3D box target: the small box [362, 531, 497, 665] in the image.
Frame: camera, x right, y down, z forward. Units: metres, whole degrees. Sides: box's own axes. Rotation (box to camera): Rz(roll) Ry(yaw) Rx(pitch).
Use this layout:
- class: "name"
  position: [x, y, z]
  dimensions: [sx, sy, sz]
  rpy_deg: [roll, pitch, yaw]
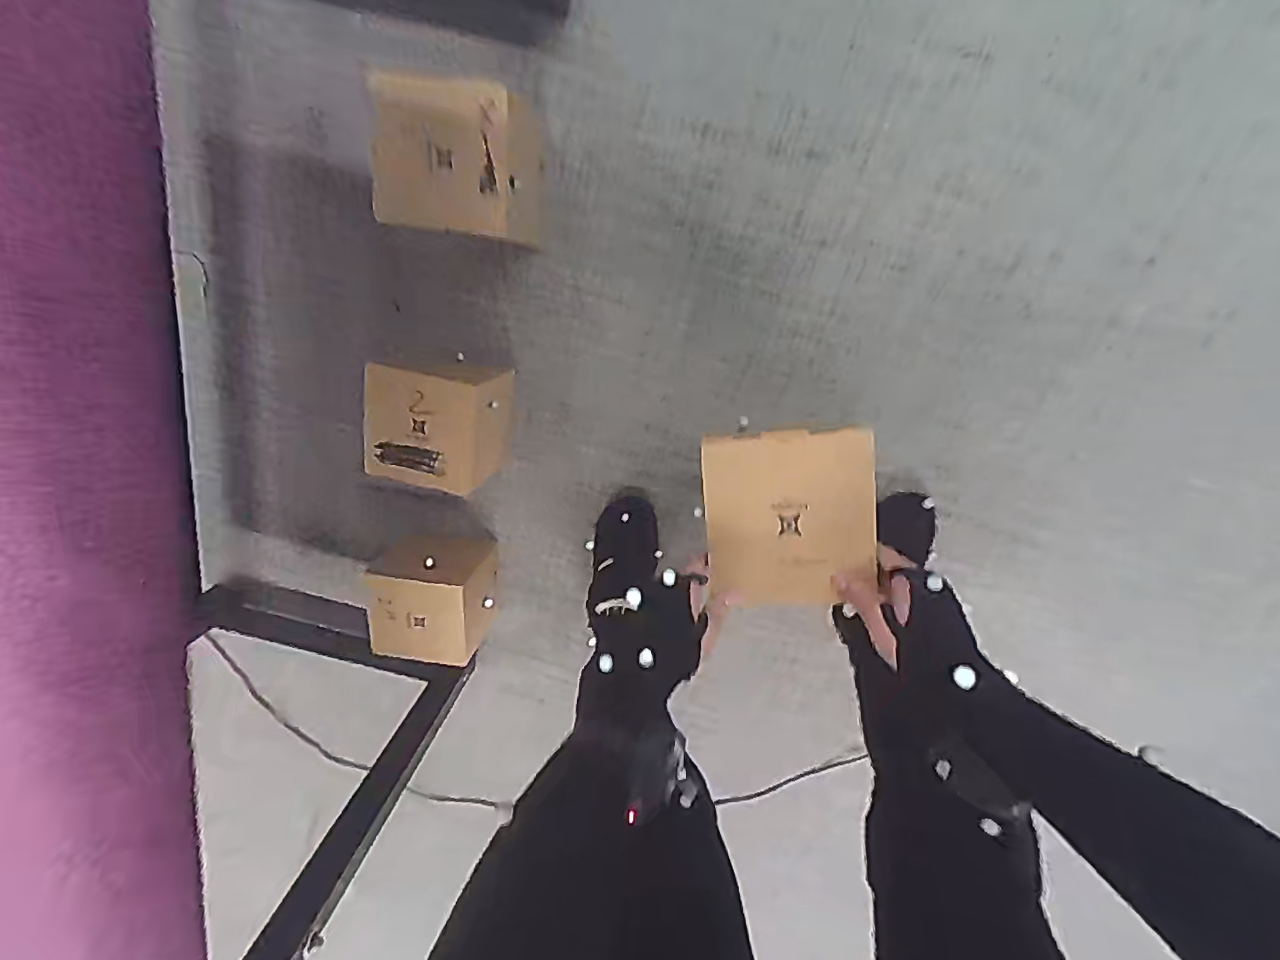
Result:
- class: "small box"
  position: [-0.366, 0.204, 0.976]
  dimensions: [0.179, 0.176, 0.168]
  rpy_deg: [7, 111, 4]

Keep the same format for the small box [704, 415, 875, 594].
- class: "small box"
  position: [0.157, 0.017, 0.612]
  dimensions: [0.168, 0.176, 0.179]
  rpy_deg: [-2, 99, 9]

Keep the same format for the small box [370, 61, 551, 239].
- class: "small box"
  position: [-0.233, -0.428, 0.729]
  dimensions: [0.179, 0.176, 0.168]
  rpy_deg: [9, 110, 4]
